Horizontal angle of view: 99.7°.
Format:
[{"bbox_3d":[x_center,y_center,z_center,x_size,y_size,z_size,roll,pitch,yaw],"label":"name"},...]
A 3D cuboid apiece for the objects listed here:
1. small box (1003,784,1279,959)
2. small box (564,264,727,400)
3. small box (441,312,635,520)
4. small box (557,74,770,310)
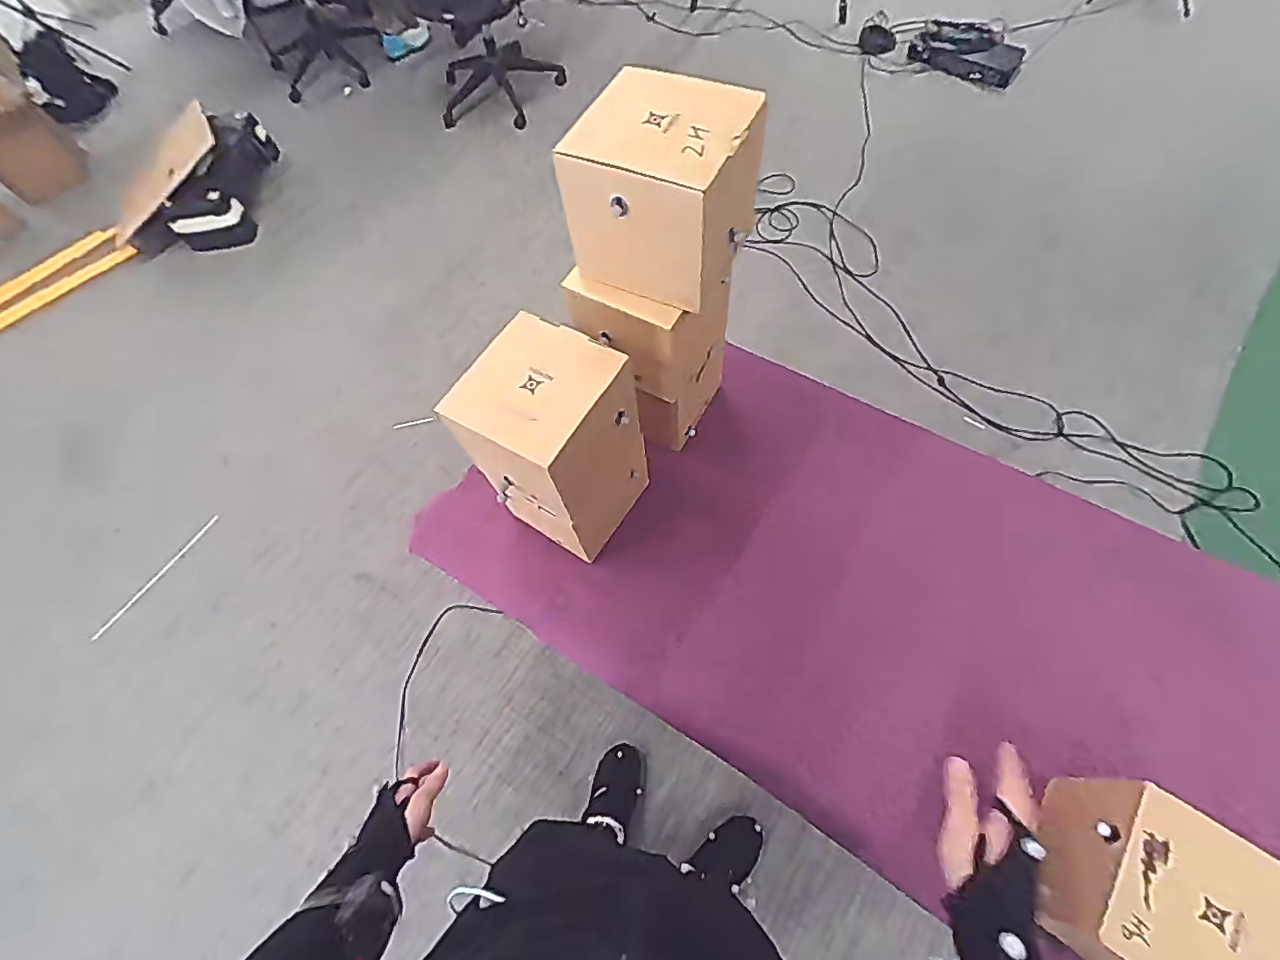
[{"bbox_3d":[0.545,0.453,0.579,0.179,0.176,0.168,33,70,19],"label":"small box"},{"bbox_3d":[0.019,-0.246,0.782,0.168,0.176,0.179,27,69,16],"label":"small box"},{"bbox_3d":[-0.117,-0.078,0.710,0.168,0.176,0.179,27,69,17],"label":"small box"},{"bbox_3d":[0.031,-0.332,0.640,0.179,0.176,0.168,24,69,15],"label":"small box"}]
